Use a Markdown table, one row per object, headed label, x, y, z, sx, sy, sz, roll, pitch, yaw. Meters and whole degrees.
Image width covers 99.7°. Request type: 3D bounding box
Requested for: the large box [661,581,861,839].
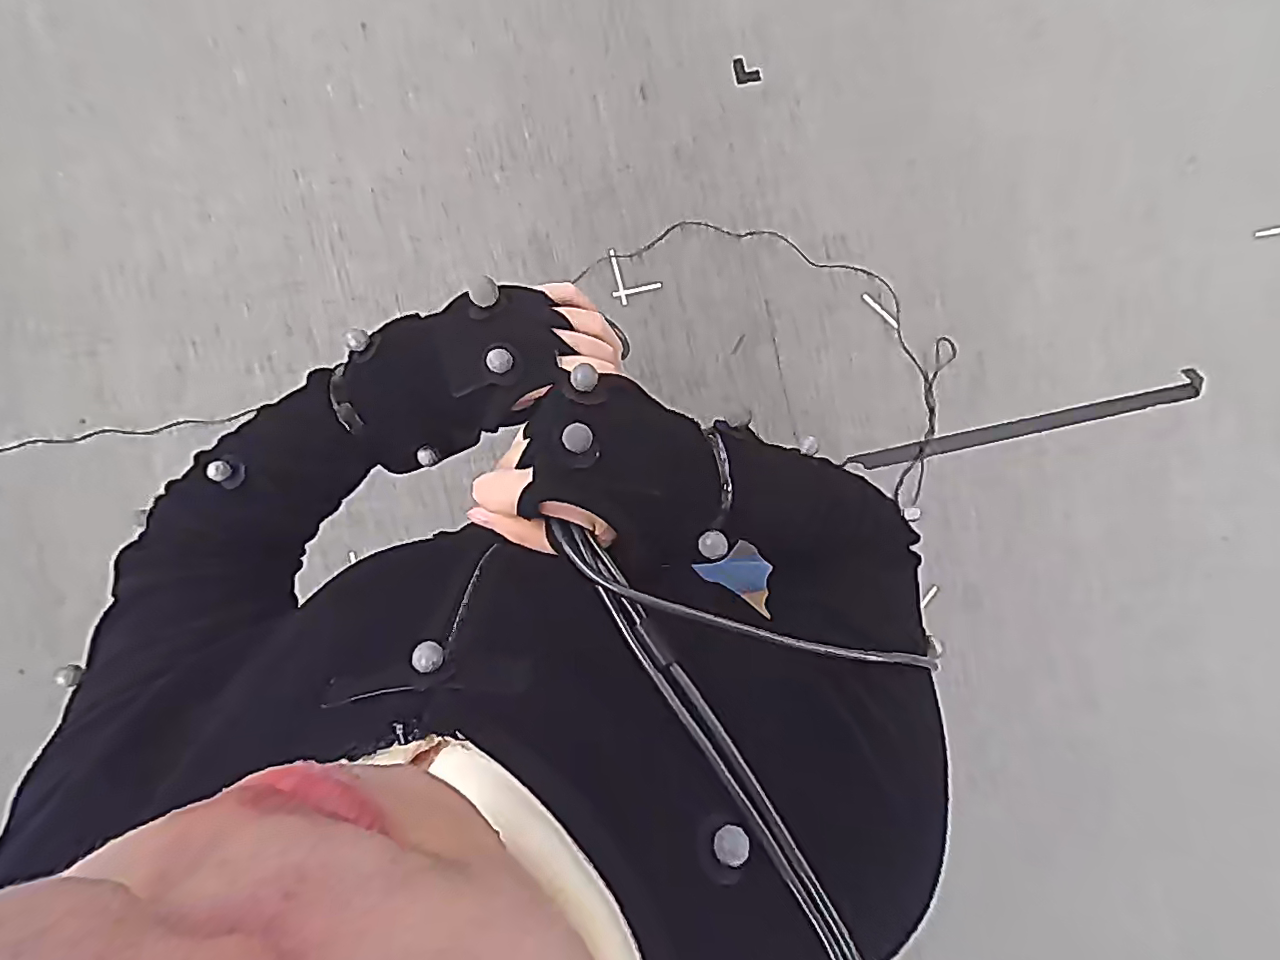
| label | x | y | z | sx | sy | sz | roll | pitch | yaw |
| --- | --- | --- | --- | --- | --- | --- | --- | --- | --- |
| large box | 0.251 | 0.487 | 1.225 | 0.320 | 0.320 | 0.408 | -11 | 95 | -4 |
